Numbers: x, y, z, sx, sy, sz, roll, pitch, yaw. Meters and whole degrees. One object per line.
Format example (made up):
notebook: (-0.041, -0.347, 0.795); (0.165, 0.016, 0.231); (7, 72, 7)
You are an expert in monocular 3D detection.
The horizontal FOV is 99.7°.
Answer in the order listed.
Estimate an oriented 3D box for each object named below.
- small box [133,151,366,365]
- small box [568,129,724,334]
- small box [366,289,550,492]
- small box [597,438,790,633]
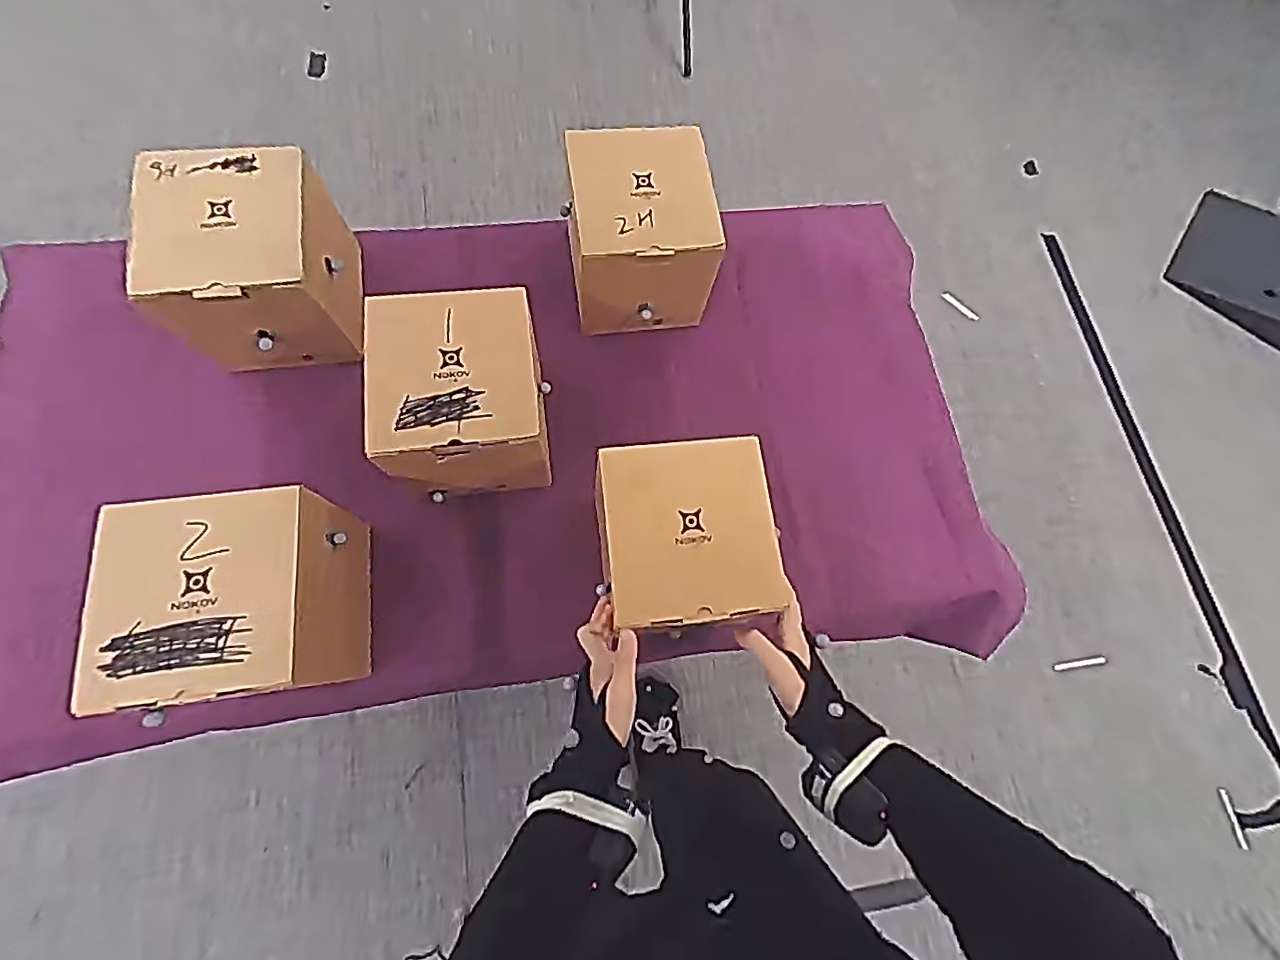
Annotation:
small box: (-0.442, -0.249, 0.641); (0.168, 0.176, 0.179); (-7, 77, -8)
small box: (-0.003, -0.314, 0.703); (0.168, 0.176, 0.179); (-7, 76, -7)
small box: (-0.196, -0.090, 0.621); (0.168, 0.176, 0.179); (-6, 73, -8)
small box: (0.043, 0.068, 0.596); (0.168, 0.176, 0.179); (-5, 73, -7)
